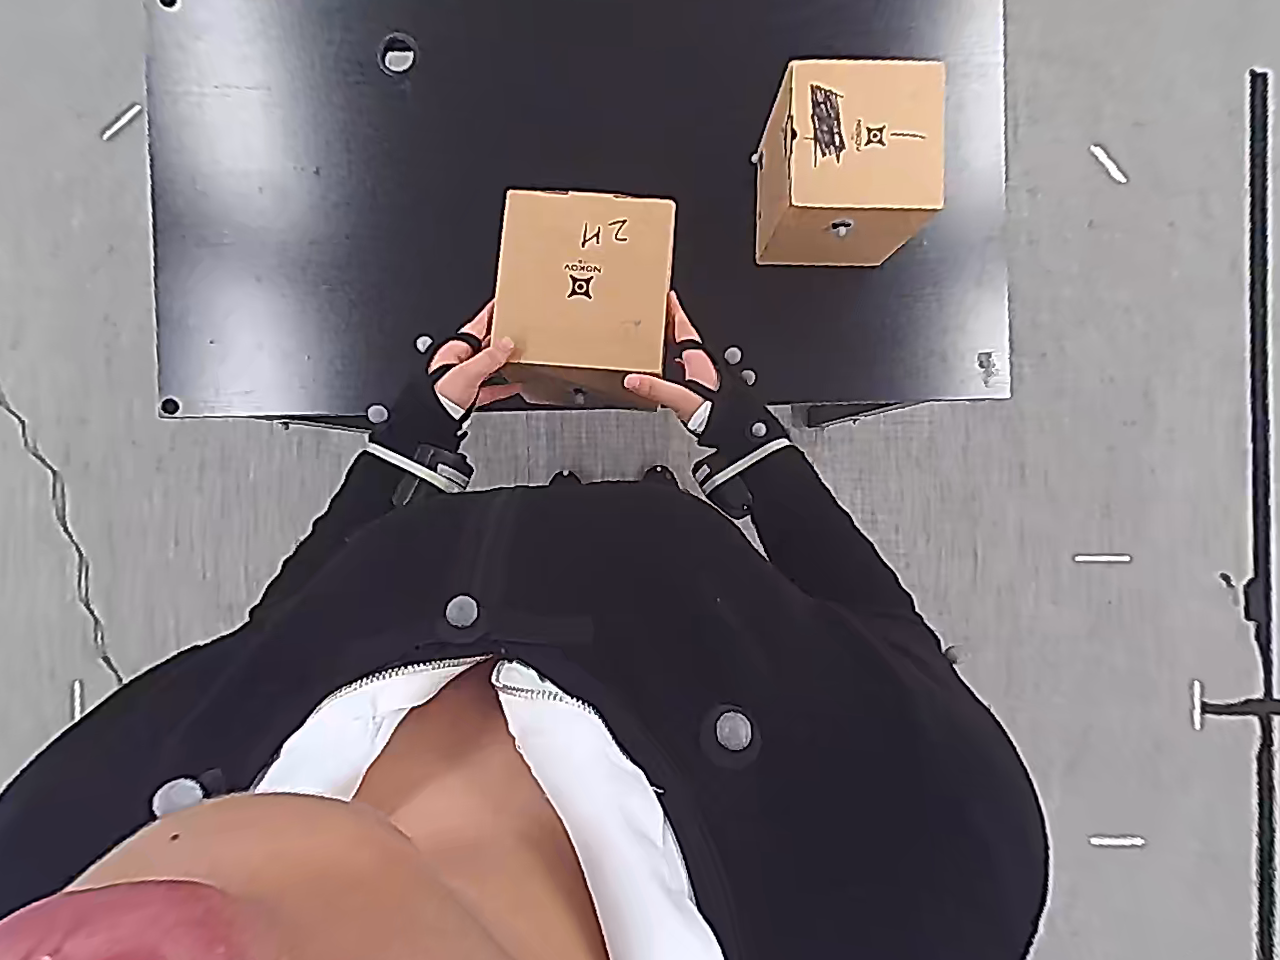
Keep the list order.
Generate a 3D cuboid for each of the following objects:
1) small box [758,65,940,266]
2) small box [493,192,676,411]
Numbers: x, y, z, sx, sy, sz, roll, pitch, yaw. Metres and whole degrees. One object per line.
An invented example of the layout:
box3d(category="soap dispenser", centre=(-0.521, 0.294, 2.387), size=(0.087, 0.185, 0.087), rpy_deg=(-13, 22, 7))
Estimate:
box3d(category="small box", centre=(0.253, -0.388, 0.695), size=(0.179, 0.176, 0.168), rpy_deg=(1, 90, -1))
box3d(category="small box", centre=(-0.052, -0.185, 0.608), size=(0.168, 0.176, 0.179), rpy_deg=(6, 81, 1))
